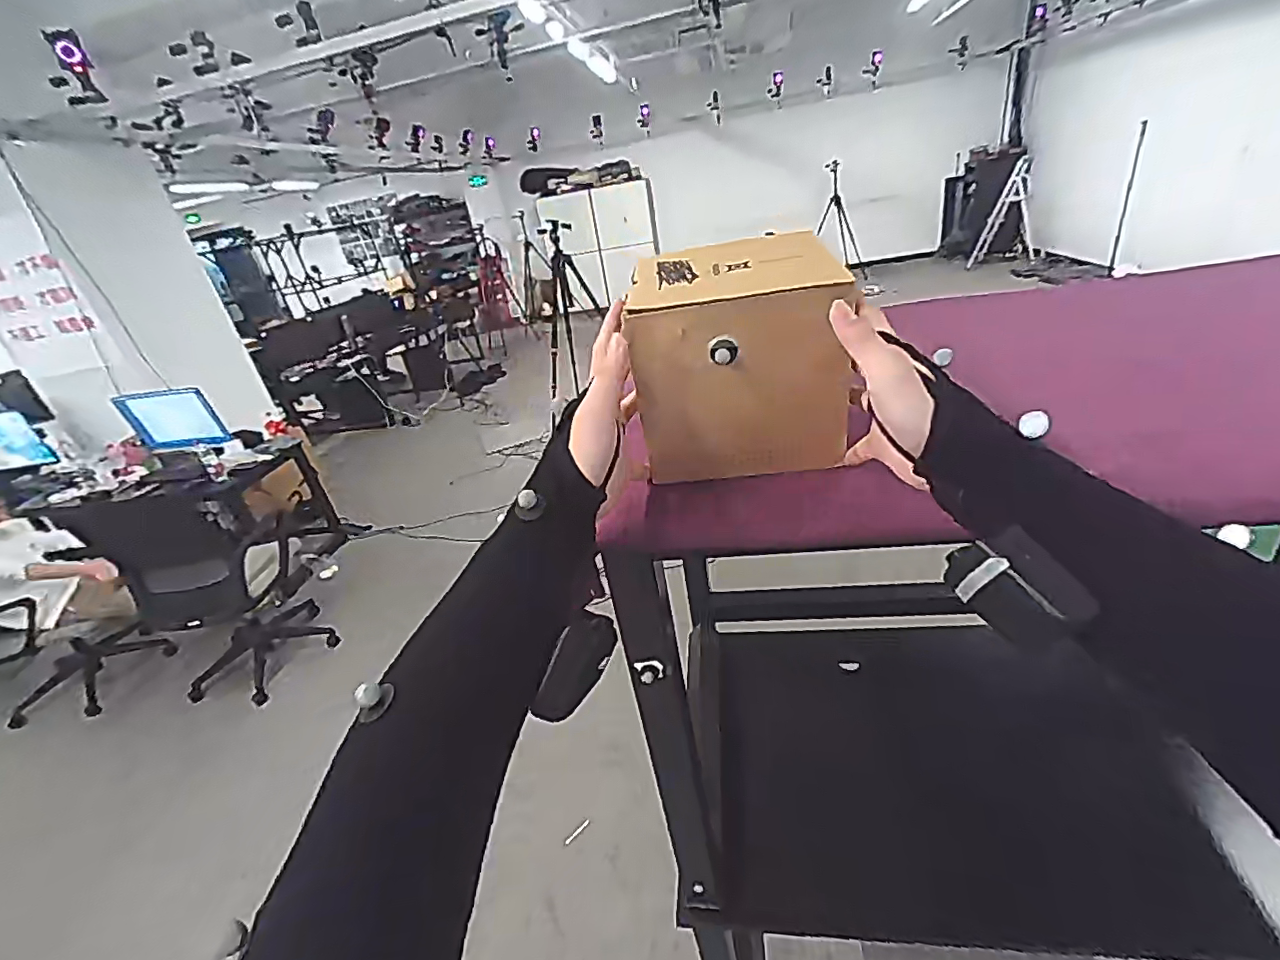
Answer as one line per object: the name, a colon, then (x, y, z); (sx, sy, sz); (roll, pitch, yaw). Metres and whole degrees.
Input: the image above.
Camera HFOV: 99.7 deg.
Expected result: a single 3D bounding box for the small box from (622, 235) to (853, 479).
small box: (0.091, -0.114, 0.511); (0.179, 0.176, 0.168); (-5, 35, 9)
